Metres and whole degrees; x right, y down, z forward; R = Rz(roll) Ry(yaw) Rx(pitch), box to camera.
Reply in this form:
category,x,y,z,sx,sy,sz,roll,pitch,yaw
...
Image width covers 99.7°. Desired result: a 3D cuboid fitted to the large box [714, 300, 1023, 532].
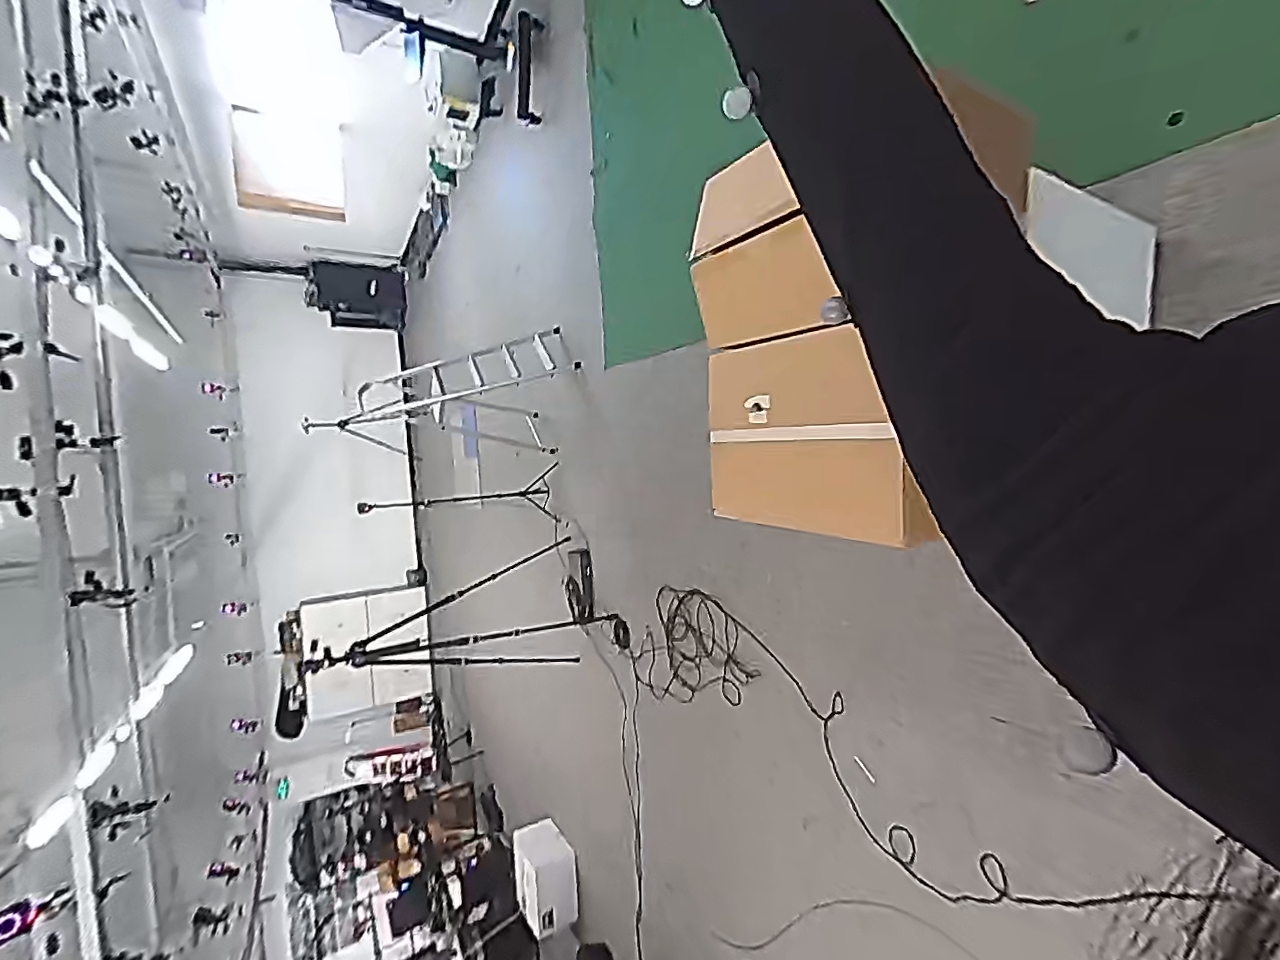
category,x,y,z,sx,sy,sz,roll,pitch,yaw
large box,0.379,-0.101,0.950,0.408,0.320,0.320,5,98,59
